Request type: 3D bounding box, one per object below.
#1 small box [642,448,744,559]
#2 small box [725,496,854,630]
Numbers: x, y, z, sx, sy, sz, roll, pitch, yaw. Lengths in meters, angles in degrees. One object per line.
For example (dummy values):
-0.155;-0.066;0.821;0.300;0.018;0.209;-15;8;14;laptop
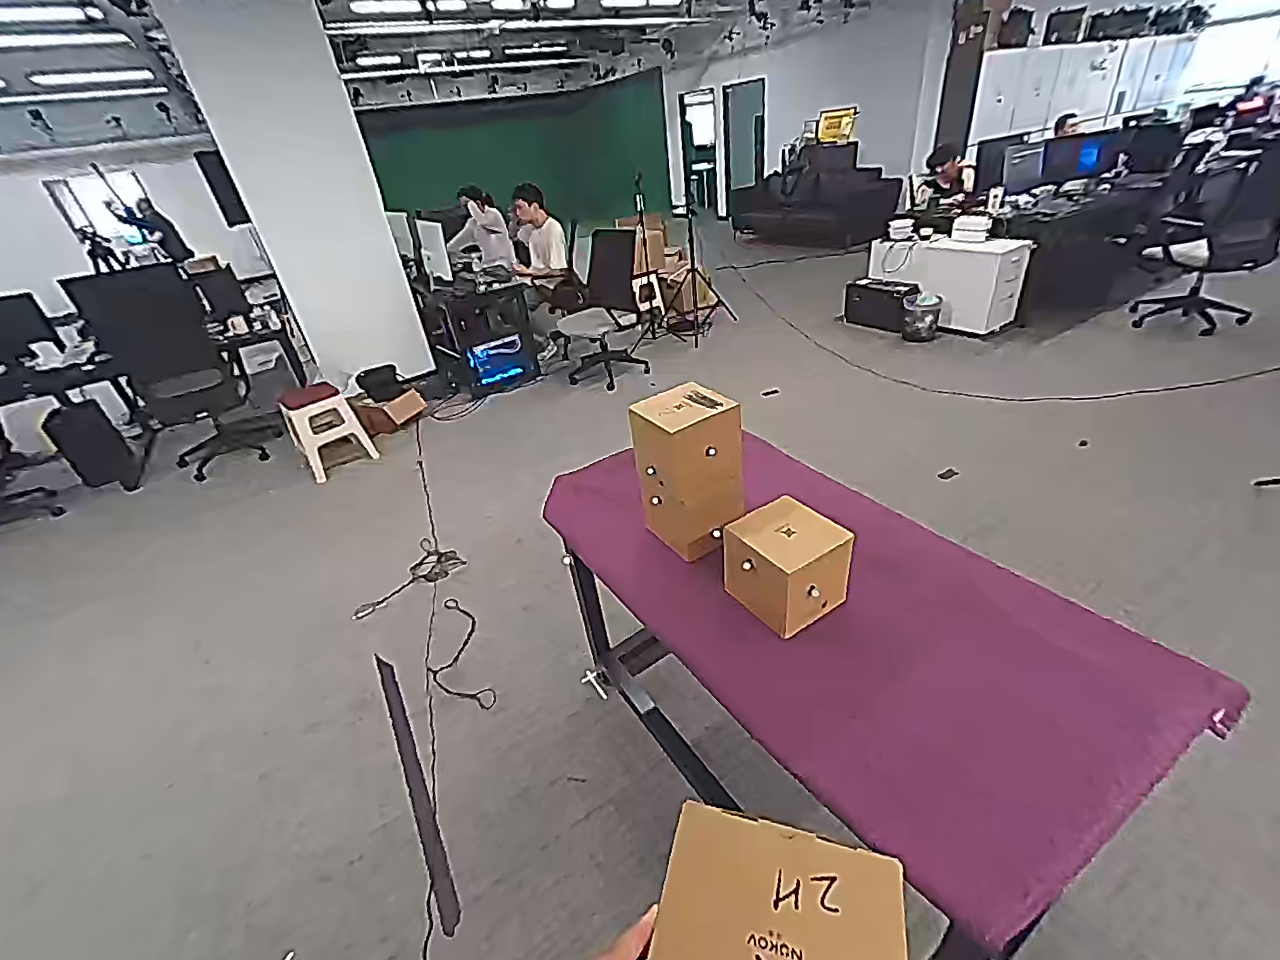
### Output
0.123;0.052;1.254;0.168;0.176;0.179;-25;37;-24;small box
0.284;0.164;1.047;0.168;0.176;0.179;-24;35;-23;small box
